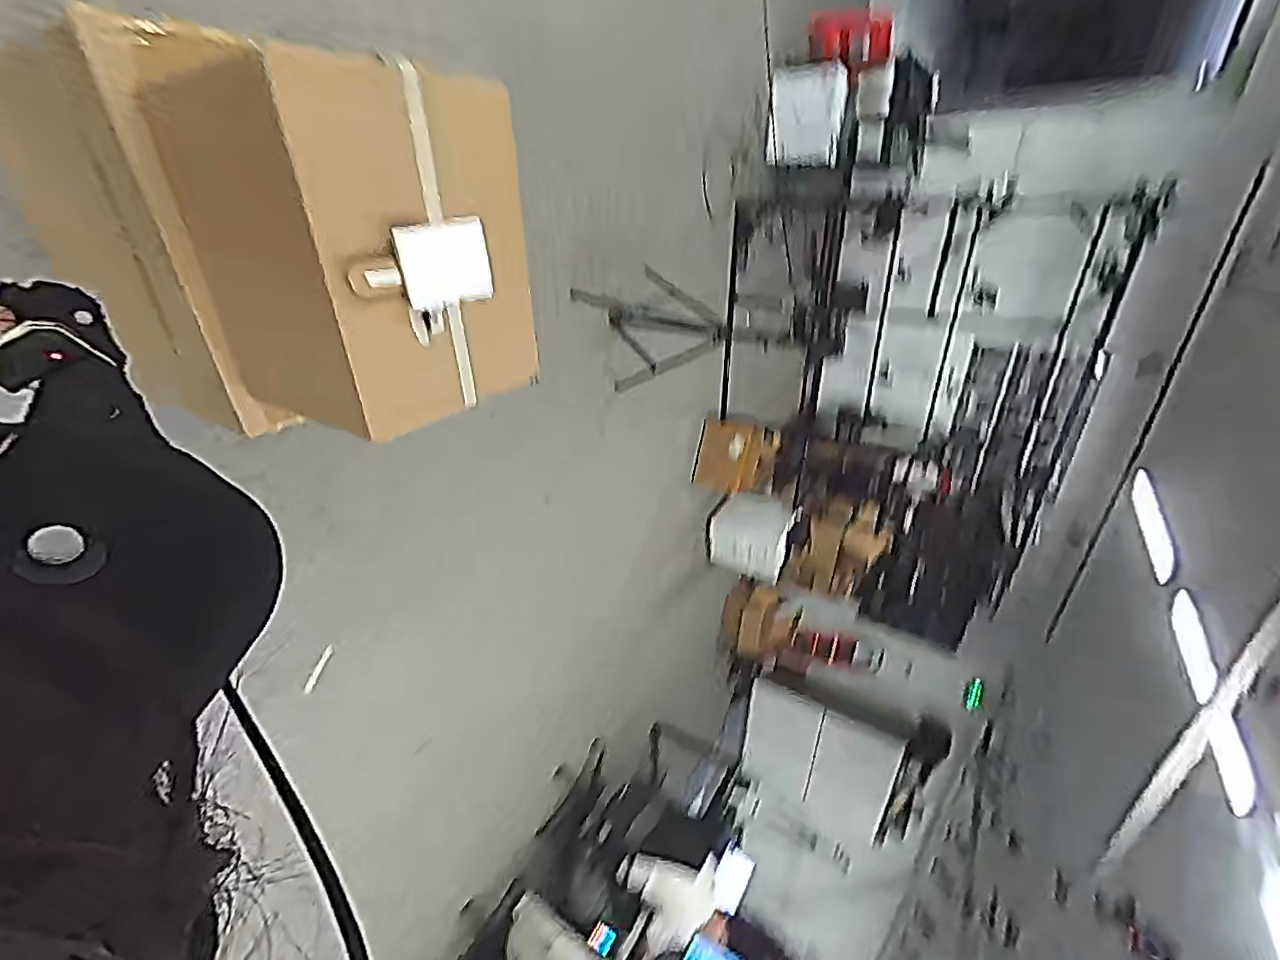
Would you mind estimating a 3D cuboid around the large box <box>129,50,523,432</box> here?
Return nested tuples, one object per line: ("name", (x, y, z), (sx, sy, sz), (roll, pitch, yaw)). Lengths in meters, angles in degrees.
("large box", (-0.405, -0.332, 0.778), (0.320, 0.320, 0.408), (-36, 135, -47))
